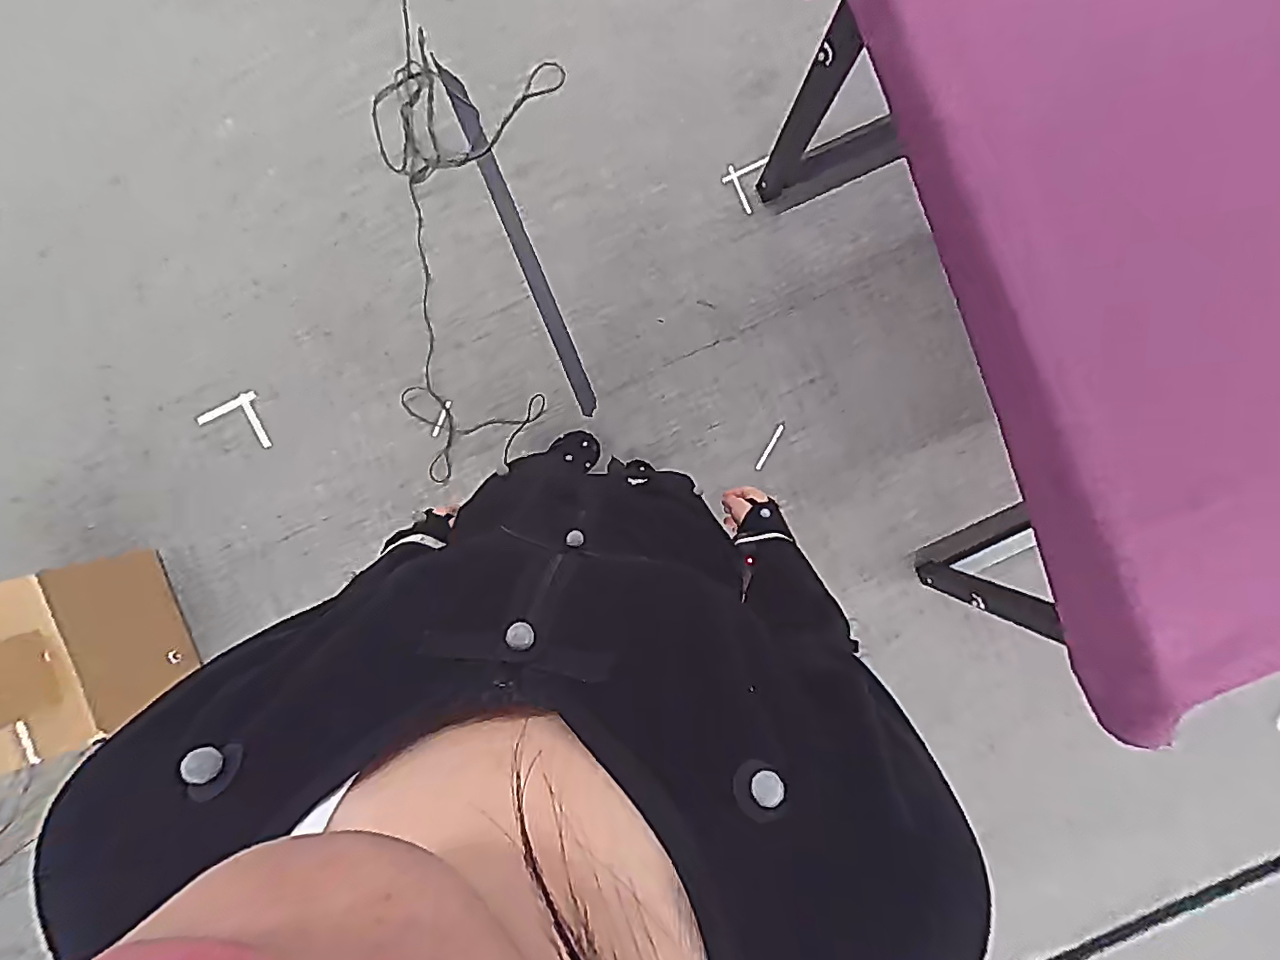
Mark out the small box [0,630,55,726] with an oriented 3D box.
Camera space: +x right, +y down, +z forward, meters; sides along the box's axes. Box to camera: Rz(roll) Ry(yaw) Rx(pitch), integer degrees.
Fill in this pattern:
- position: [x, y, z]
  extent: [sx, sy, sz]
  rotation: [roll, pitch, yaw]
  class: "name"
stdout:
- position: [-1.376, 0.431, 1.106]
  extent: [0.168, 0.176, 0.179]
  rotation: [-16, 92, -1]
  class: "small box"
